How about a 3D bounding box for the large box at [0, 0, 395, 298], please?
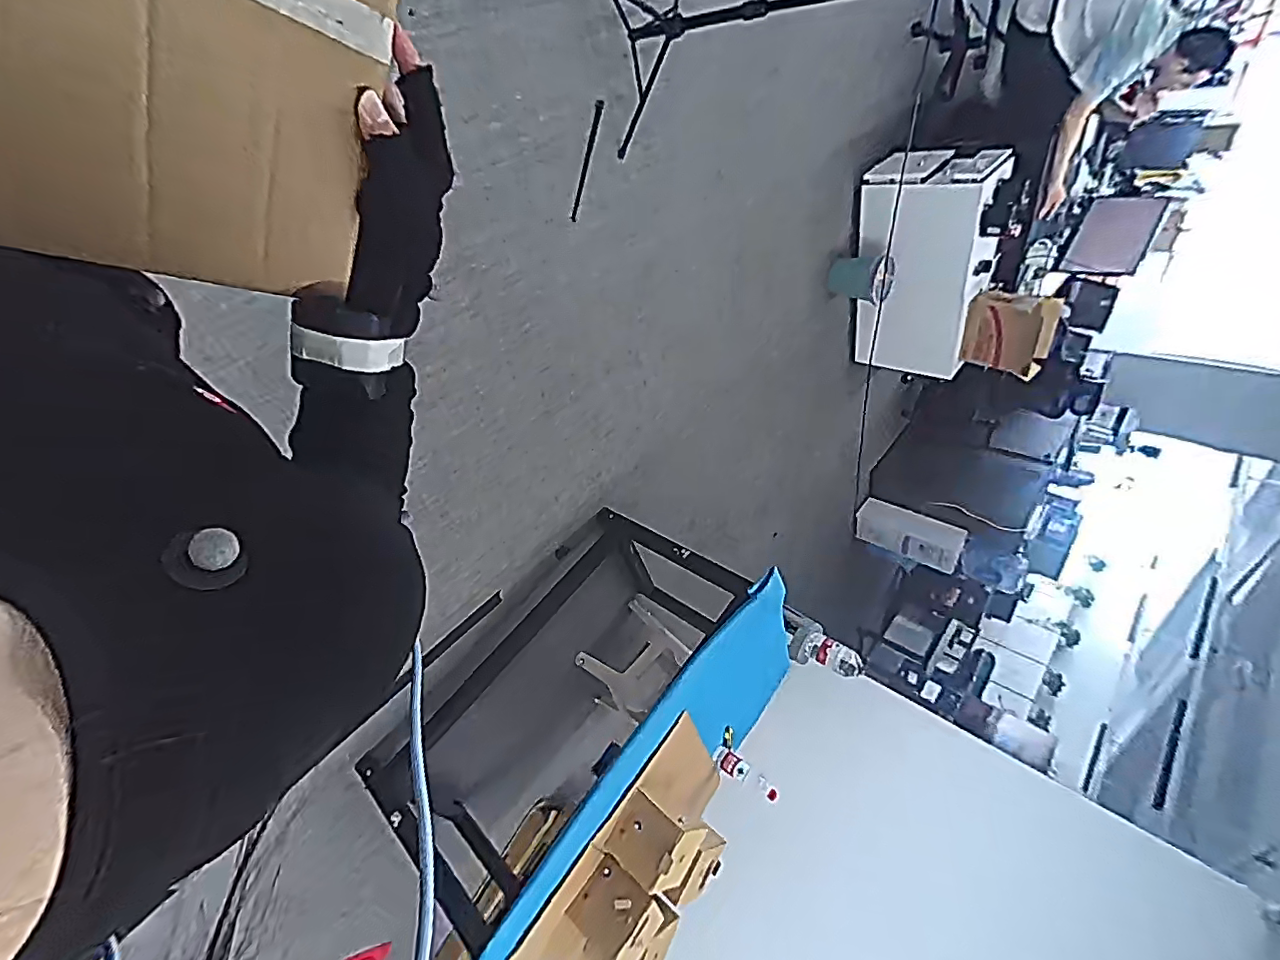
[{"bbox_3d":[-0.377,-0.328,0.257,0.408,0.320,0.320,-3,131,-45],"label":"large box"}]
